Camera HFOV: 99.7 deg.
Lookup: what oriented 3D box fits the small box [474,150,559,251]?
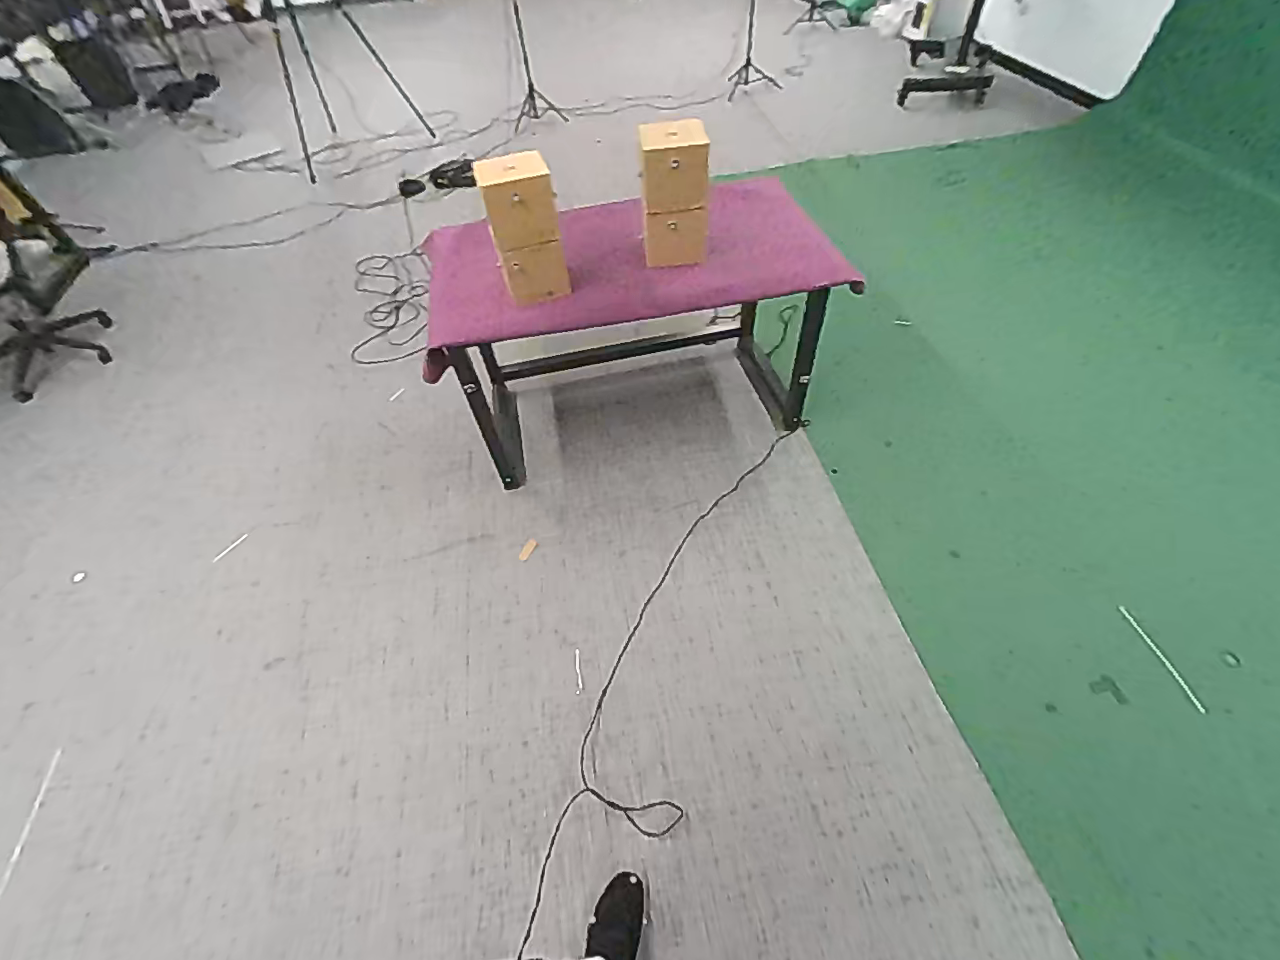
[{"bbox_3d":[-0.316,-0.726,1.408,0.179,0.176,0.168,-17,52,-8],"label":"small box"}]

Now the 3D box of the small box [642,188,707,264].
[{"bbox_3d":[0.102,-0.761,1.609,0.179,0.176,0.168,-5,52,0],"label":"small box"}]

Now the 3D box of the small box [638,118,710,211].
[{"bbox_3d":[0.091,-0.857,1.478,0.179,0.176,0.168,-6,53,0],"label":"small box"}]
